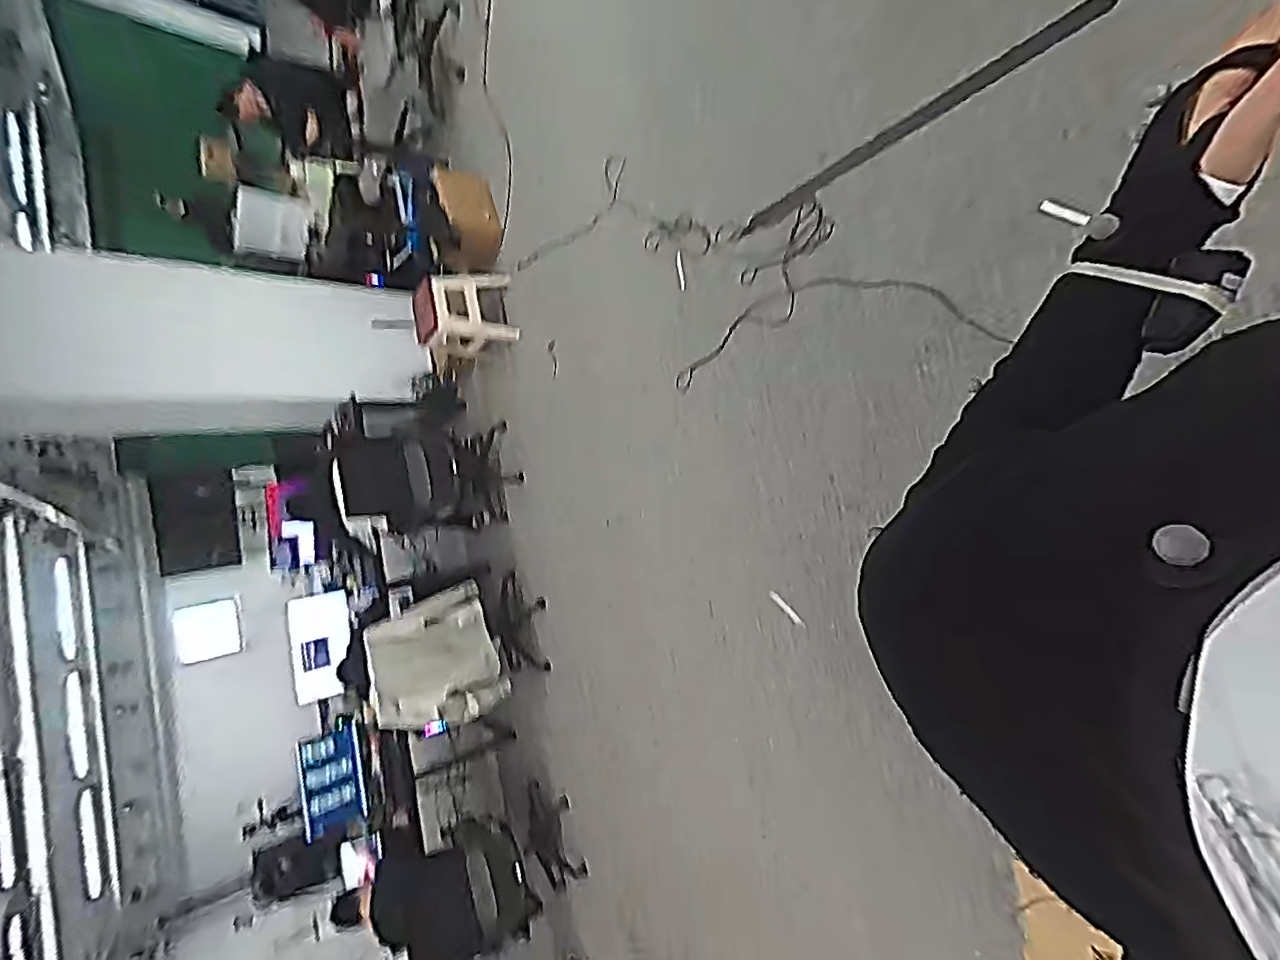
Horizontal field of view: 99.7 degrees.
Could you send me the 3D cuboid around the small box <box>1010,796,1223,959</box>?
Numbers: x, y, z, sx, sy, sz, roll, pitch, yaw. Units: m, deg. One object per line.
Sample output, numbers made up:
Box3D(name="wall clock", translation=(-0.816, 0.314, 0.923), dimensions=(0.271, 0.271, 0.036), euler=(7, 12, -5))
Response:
Box3D(name="small box", translation=(0.595, 0.540, 0.675), dimensions=(0.168, 0.176, 0.179), euler=(-11, 85, 49))
